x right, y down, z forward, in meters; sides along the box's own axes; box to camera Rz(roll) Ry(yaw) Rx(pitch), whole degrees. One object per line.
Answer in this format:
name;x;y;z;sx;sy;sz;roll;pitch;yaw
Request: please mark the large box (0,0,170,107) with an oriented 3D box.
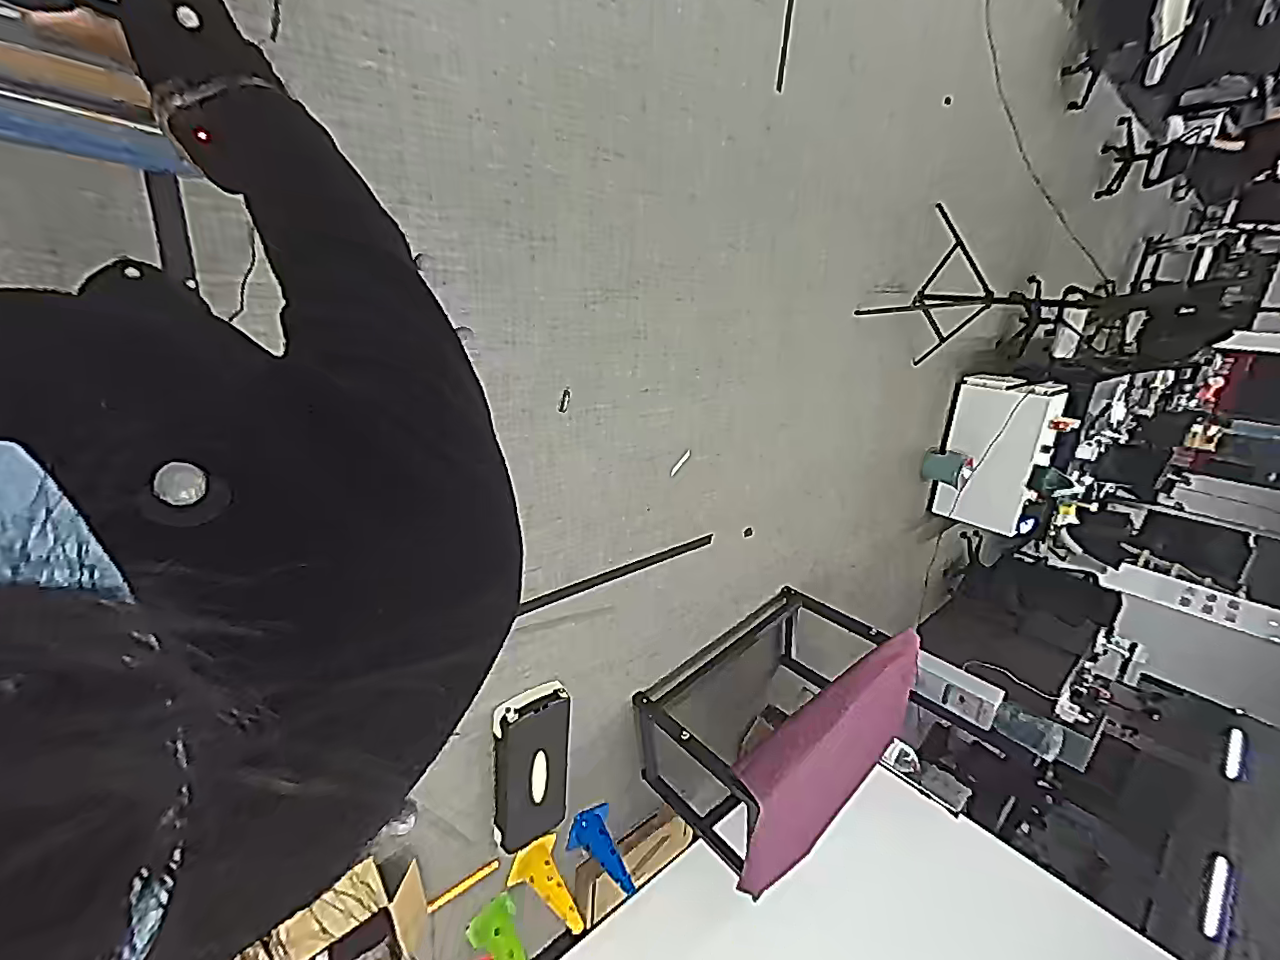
large box;-0.821;-0.694;0.612;0.408;0.320;0.320;-7;111;-42
